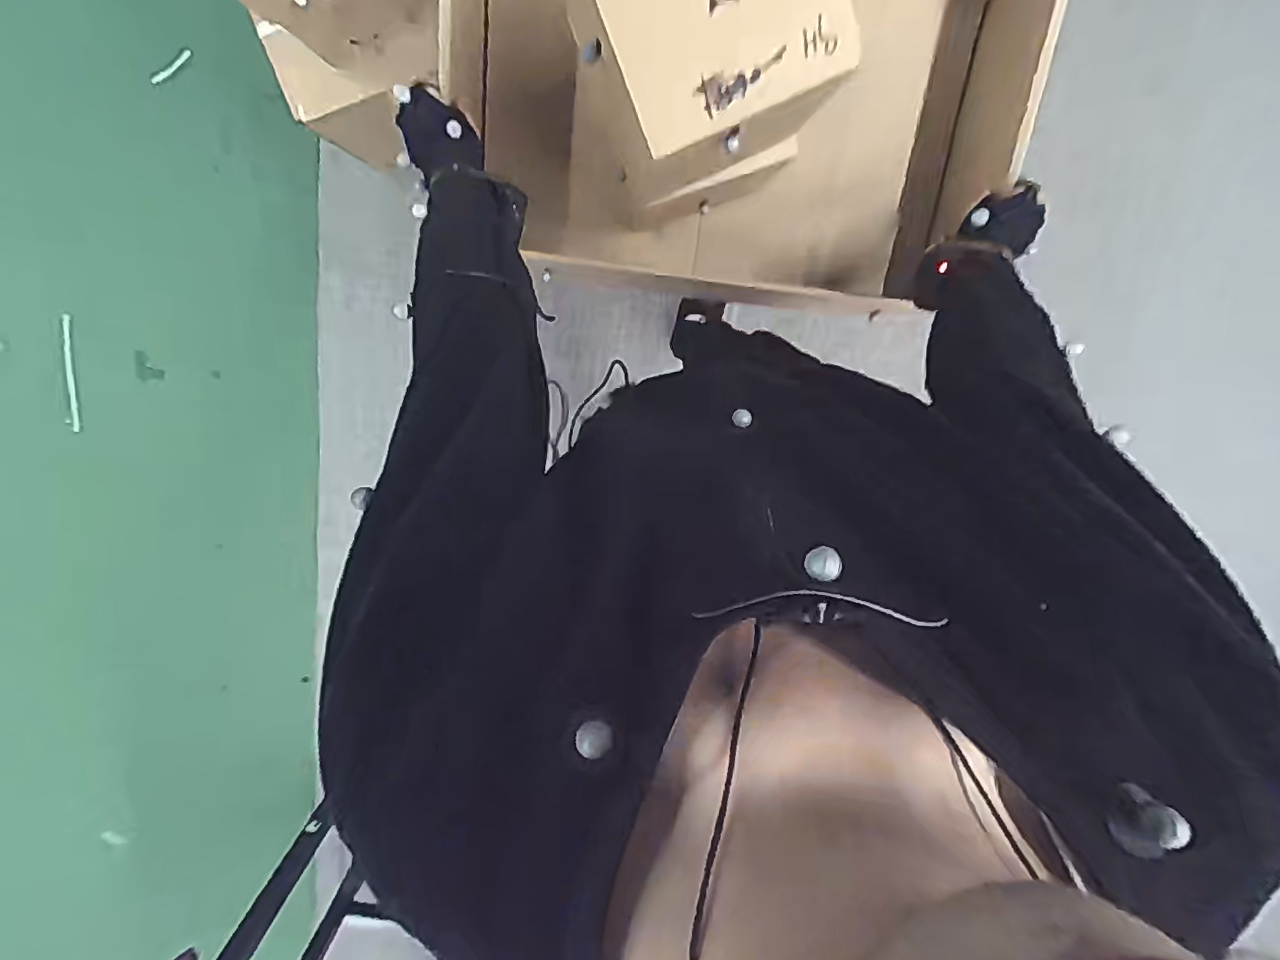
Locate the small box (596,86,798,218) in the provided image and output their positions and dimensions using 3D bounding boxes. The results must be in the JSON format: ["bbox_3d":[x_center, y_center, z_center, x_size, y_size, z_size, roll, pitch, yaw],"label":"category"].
[{"bbox_3d":[0.051,-0.404,0.589,0.168,0.176,0.179,-18,106,1],"label":"small box"}]

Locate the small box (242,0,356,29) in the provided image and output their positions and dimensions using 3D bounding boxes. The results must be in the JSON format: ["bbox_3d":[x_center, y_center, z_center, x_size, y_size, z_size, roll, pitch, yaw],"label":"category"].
[{"bbox_3d":[-0.513,-0.767,0.724,0.168,0.176,0.179,-17,106,6],"label":"small box"}]

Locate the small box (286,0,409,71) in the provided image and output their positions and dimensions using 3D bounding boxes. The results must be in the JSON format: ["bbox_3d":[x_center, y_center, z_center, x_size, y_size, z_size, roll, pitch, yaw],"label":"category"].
[{"bbox_3d":[-0.515,-0.824,0.878,0.168,0.176,0.179,-22,105,7],"label":"small box"}]

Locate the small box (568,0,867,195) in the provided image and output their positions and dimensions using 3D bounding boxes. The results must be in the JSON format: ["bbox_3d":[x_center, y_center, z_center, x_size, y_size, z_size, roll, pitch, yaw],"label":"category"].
[{"bbox_3d":[0.044,-0.363,0.429,0.168,0.176,0.179,-23,105,4],"label":"small box"}]
